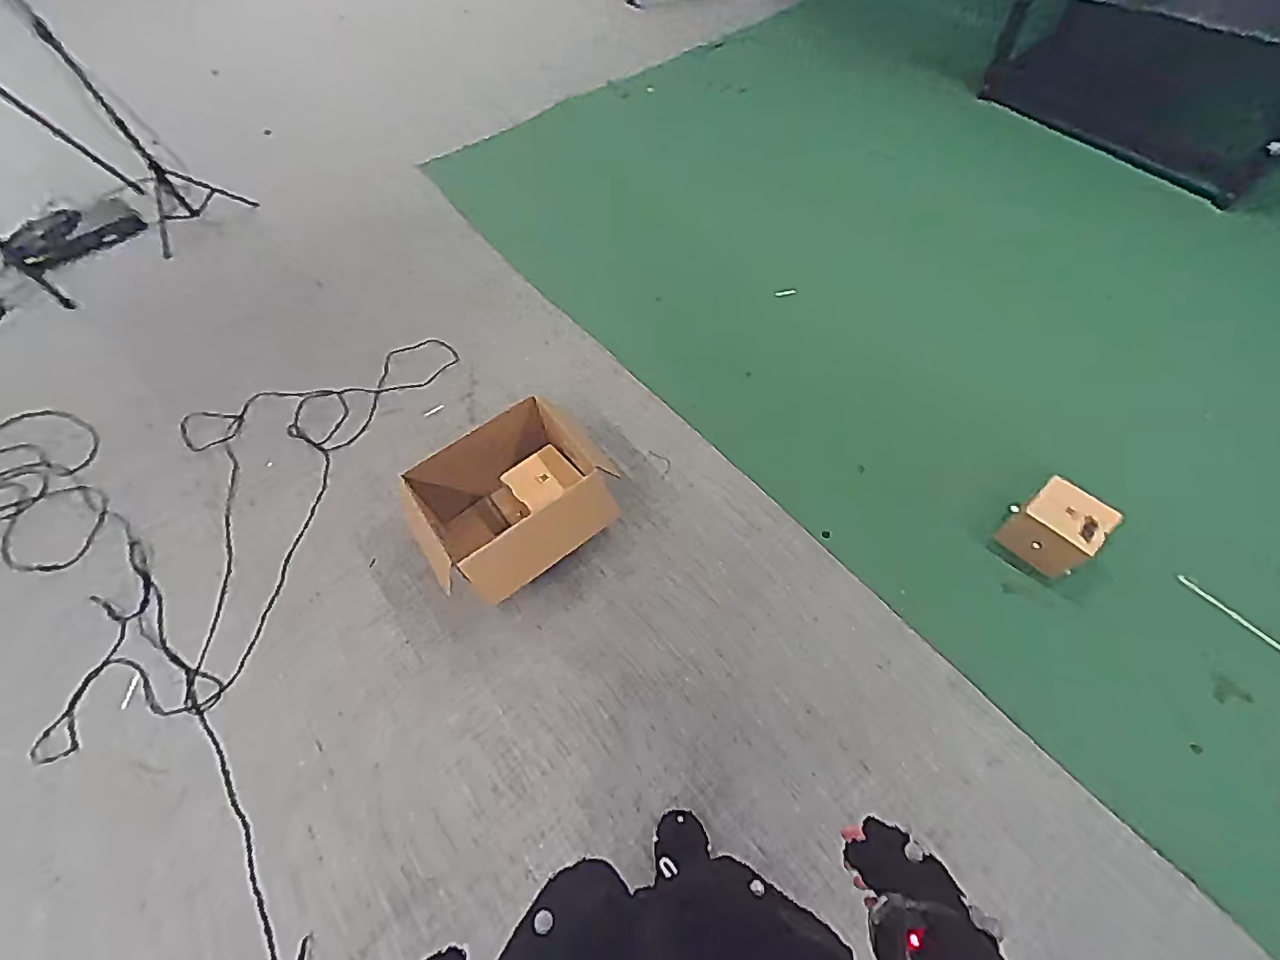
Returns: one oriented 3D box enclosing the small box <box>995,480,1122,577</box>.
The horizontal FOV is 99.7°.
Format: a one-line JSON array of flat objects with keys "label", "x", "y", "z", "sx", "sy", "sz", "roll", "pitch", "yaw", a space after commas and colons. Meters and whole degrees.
[{"label": "small box", "x": 1.106, "y": 0.138, "z": 1.442, "sx": 0.168, "sy": 0.176, "sz": 0.179, "roll": -38, "pitch": 64, "yaw": -18}]
